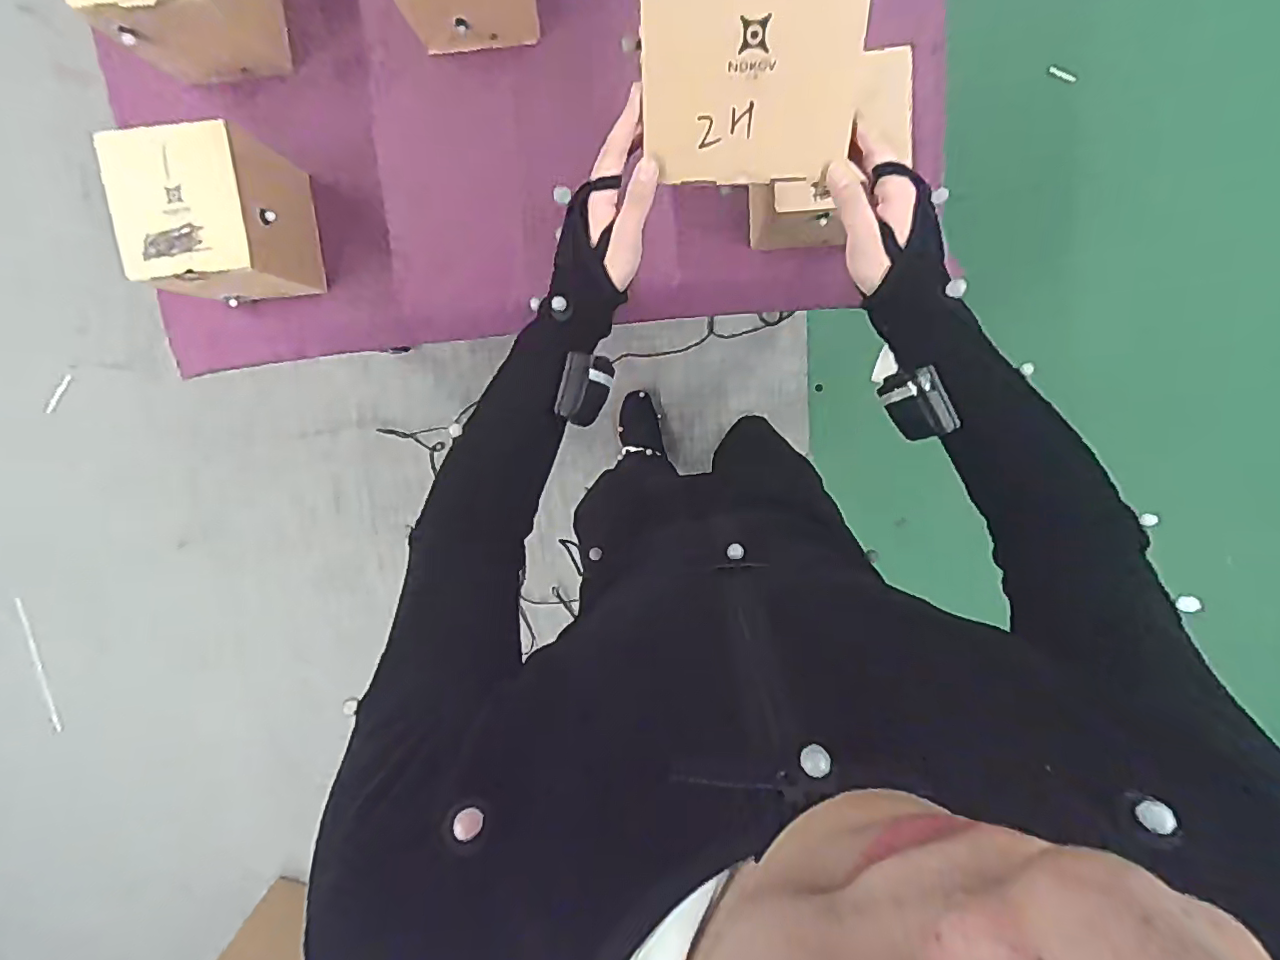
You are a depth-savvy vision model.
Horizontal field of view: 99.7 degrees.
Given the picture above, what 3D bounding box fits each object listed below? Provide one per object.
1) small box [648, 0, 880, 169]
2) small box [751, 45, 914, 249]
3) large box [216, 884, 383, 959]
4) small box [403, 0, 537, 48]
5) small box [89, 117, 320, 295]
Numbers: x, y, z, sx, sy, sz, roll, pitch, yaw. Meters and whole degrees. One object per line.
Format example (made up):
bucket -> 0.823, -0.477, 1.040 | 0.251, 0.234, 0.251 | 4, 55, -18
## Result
small box -> 0.090, -0.368, 0.462 | 0.168, 0.176, 0.179 | 0, 122, 2
small box -> 0.242, -0.426, 0.719 | 0.168, 0.176, 0.179 | -3, 98, 2
large box -> -1.132, 1.619, 1.762 | 0.408, 0.320, 0.320 | 18, 100, -4
small box -> -0.233, -0.694, 0.680 | 0.168, 0.176, 0.179 | -5, 101, 1
small box -> -0.572, -0.356, 0.738 | 0.168, 0.176, 0.179 | -5, 99, 1
